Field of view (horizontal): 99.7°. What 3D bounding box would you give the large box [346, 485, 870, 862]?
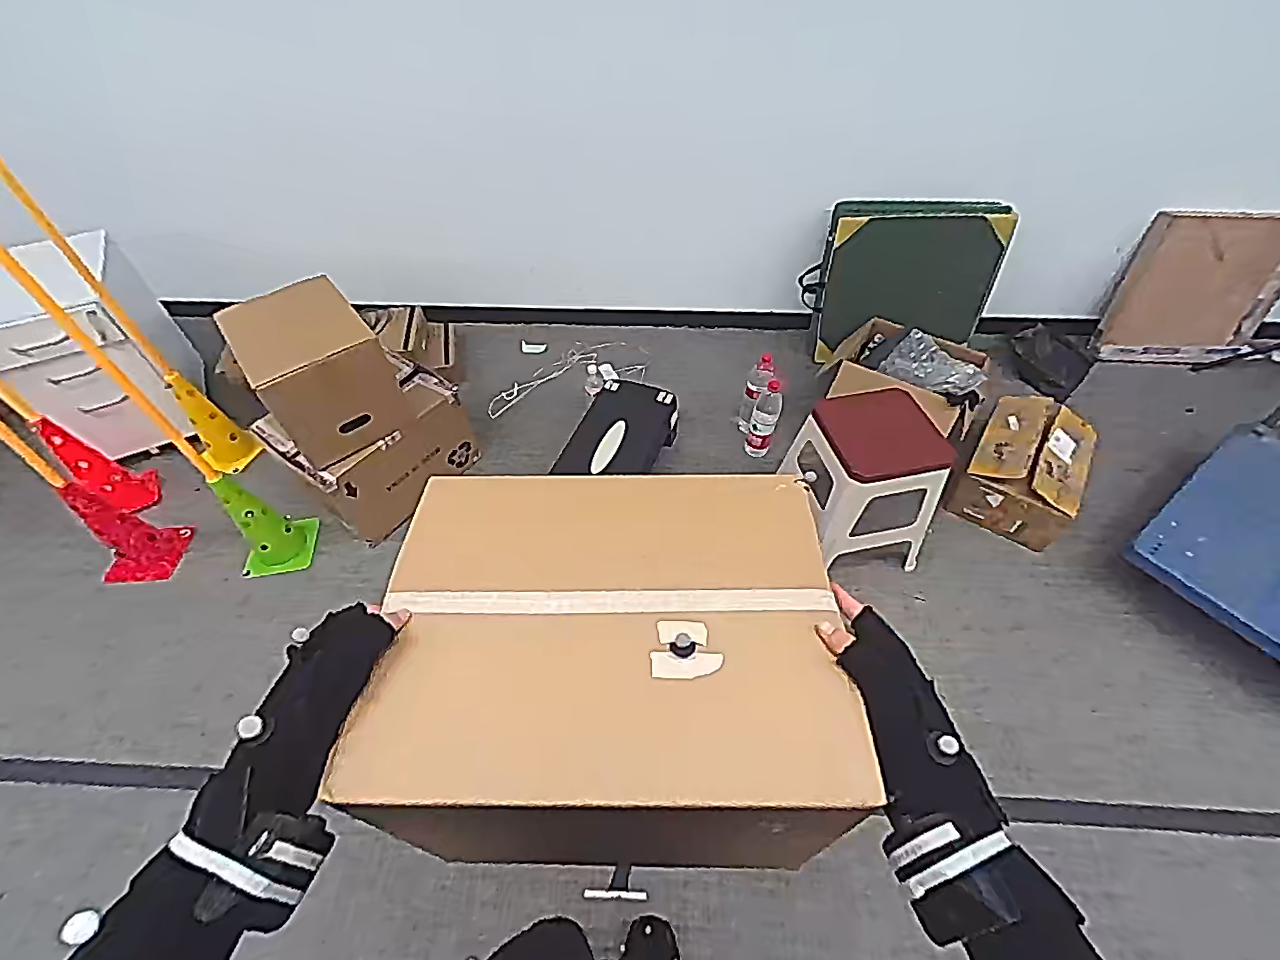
[{"bbox_3d":[-0.023,0.220,0.611,0.408,0.320,0.320,0,48,1],"label":"large box"}]
